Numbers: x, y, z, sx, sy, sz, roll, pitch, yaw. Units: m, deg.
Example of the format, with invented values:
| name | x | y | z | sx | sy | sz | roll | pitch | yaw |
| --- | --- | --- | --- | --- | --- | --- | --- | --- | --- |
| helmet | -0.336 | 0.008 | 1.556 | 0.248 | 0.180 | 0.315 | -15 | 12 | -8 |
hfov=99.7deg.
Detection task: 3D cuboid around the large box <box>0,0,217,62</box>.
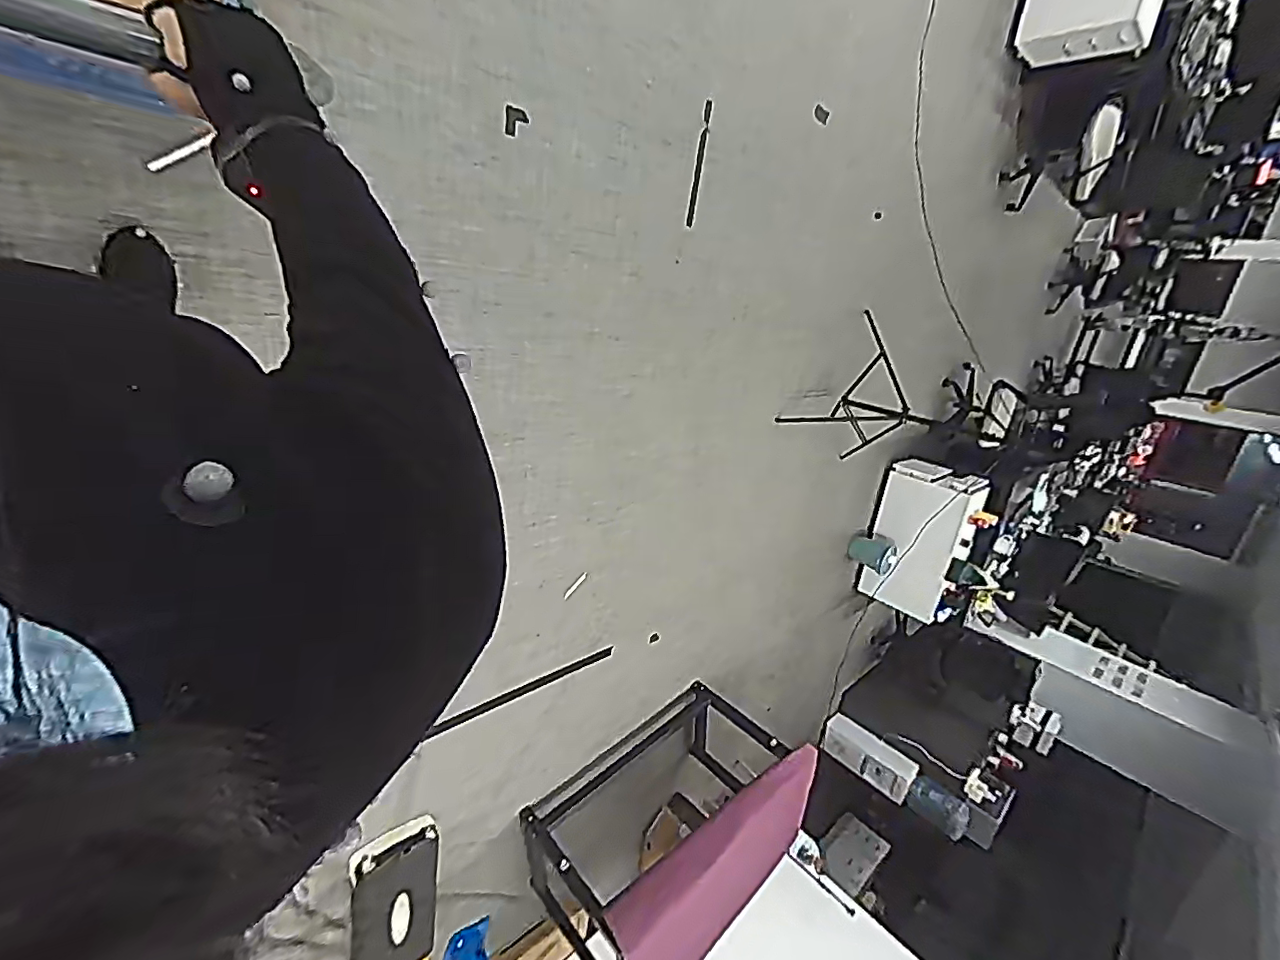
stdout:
| name | x | y | z | sx | sy | sz | roll | pitch | yaw |
| --- | --- | --- | --- | --- | --- | --- | --- | --- | --- |
| large box | -0.788 | -0.755 | 0.629 | 0.408 | 0.320 | 0.320 | -12 | 121 | -42 |
